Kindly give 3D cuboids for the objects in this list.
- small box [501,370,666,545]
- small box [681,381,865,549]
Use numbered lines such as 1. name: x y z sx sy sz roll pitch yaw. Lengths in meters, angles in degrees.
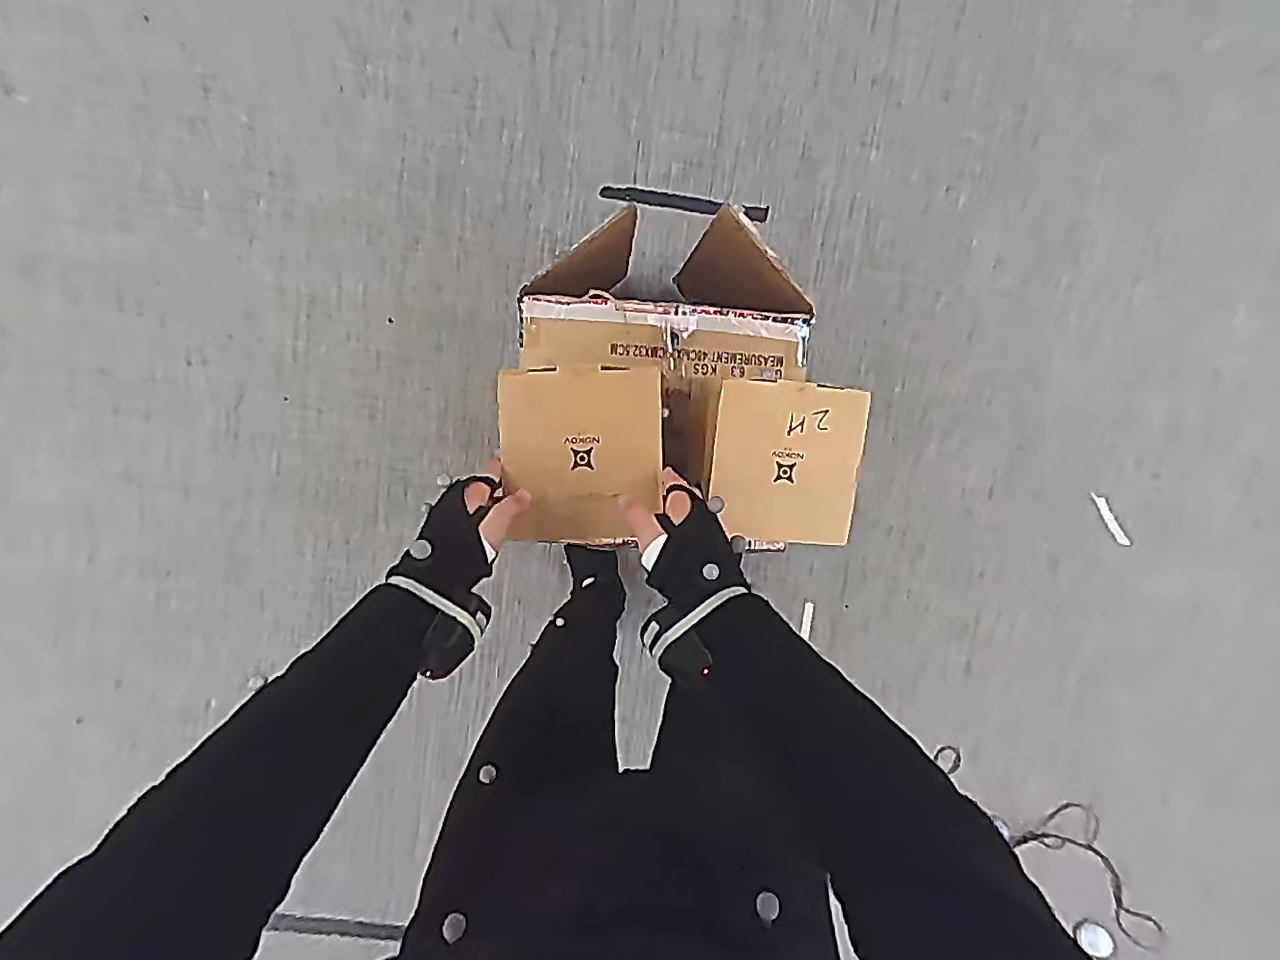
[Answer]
1. small box: -0.062 -0.028 0.631 0.168 0.176 0.179 -3 95 -3
2. small box: 0.148 -0.027 0.668 0.168 0.176 0.179 4 99 -6
